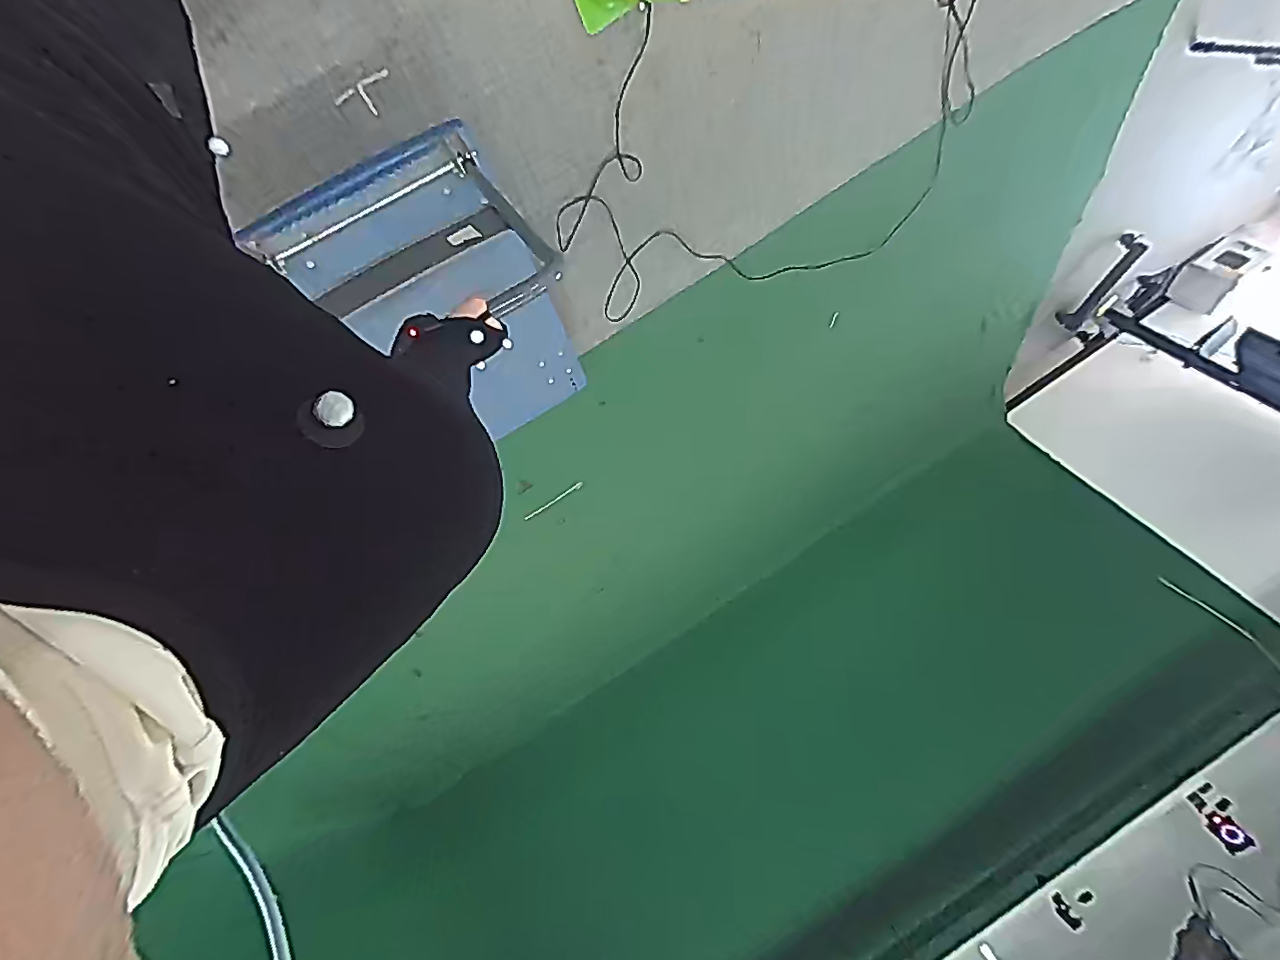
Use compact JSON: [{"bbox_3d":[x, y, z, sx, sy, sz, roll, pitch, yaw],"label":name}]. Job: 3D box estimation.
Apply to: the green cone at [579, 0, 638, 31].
[{"bbox_3d":[0.012,-1.067,1.132,0.202,0.368,0.200,-37,146,1],"label":"green cone"}]
